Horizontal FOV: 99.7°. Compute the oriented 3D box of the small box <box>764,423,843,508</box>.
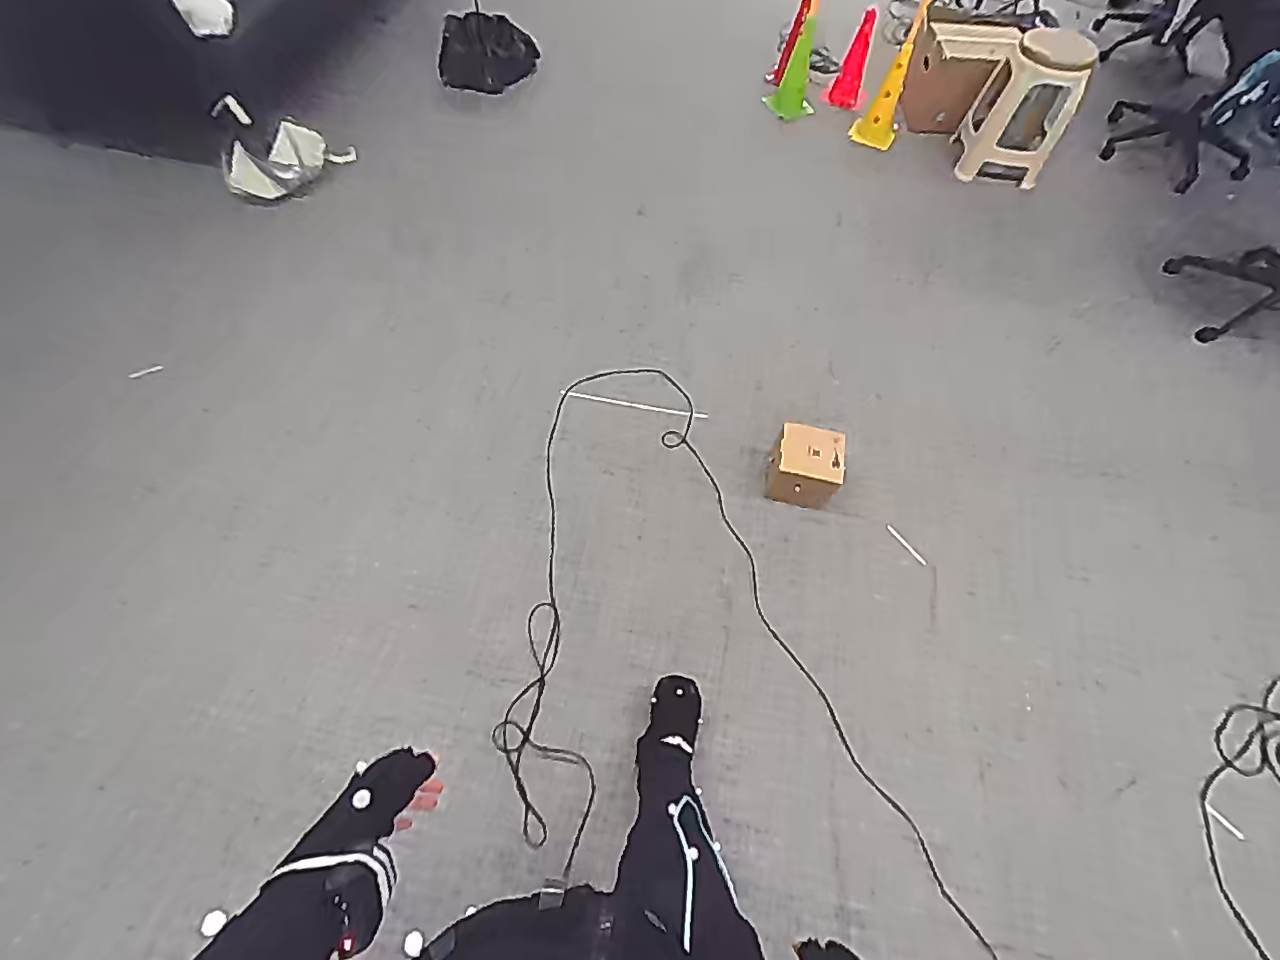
[{"bbox_3d":[0.465,-0.036,1.554,0.179,0.176,0.168,12,62,4],"label":"small box"}]
